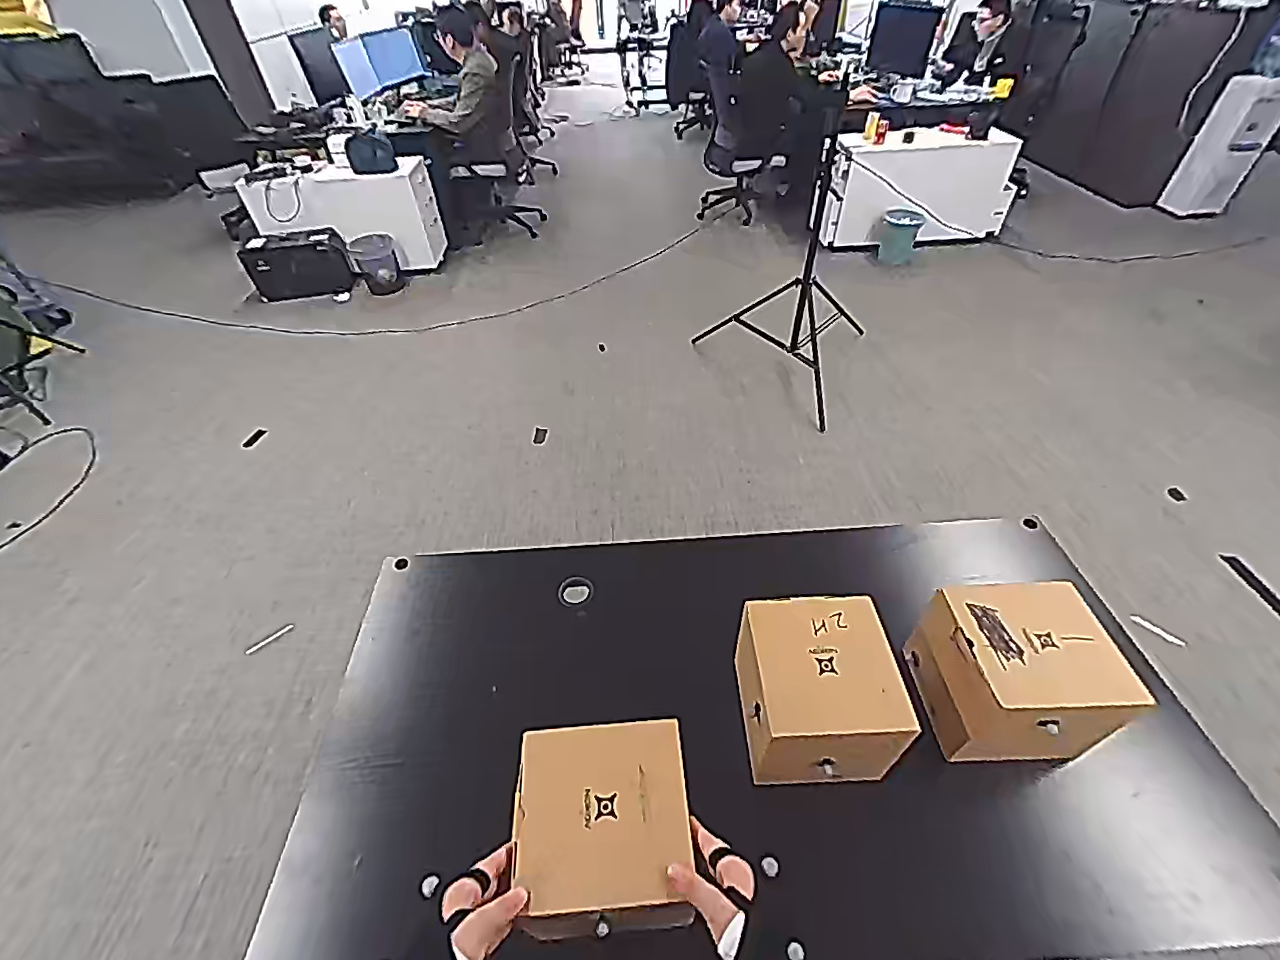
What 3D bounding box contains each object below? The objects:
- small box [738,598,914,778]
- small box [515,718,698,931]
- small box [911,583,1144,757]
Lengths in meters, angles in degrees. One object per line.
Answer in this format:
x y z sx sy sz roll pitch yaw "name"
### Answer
0.228 0.278 0.715 0.168 0.176 0.179 -3 44 0 "small box"
-0.033 0.393 0.615 0.179 0.176 0.168 -4 45 -2 "small box"
0.487 0.256 0.722 0.179 0.176 0.168 -2 44 1 "small box"
